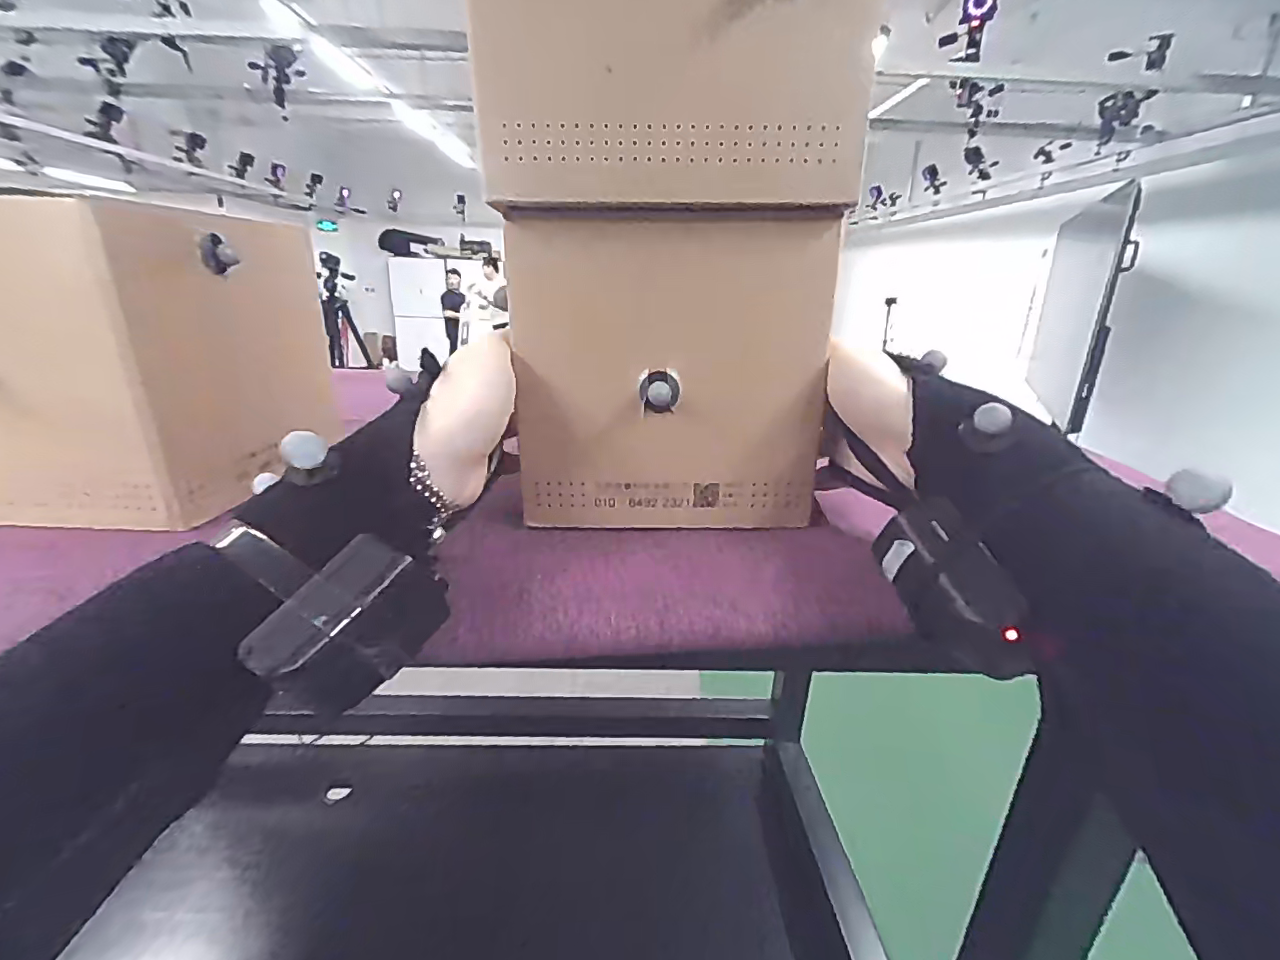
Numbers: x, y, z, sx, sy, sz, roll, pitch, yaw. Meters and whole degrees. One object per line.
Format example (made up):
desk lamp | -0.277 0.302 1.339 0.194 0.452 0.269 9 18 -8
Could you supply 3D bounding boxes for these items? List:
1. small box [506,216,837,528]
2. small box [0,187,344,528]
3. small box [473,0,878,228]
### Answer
small box | 0.016 -0.075 0.364 0.168 0.176 0.179 1 19 0
small box | -0.325 -0.077 0.344 0.179 0.176 0.168 2 20 0
small box | 0.016 -0.223 0.298 0.179 0.176 0.168 -1 18 0
